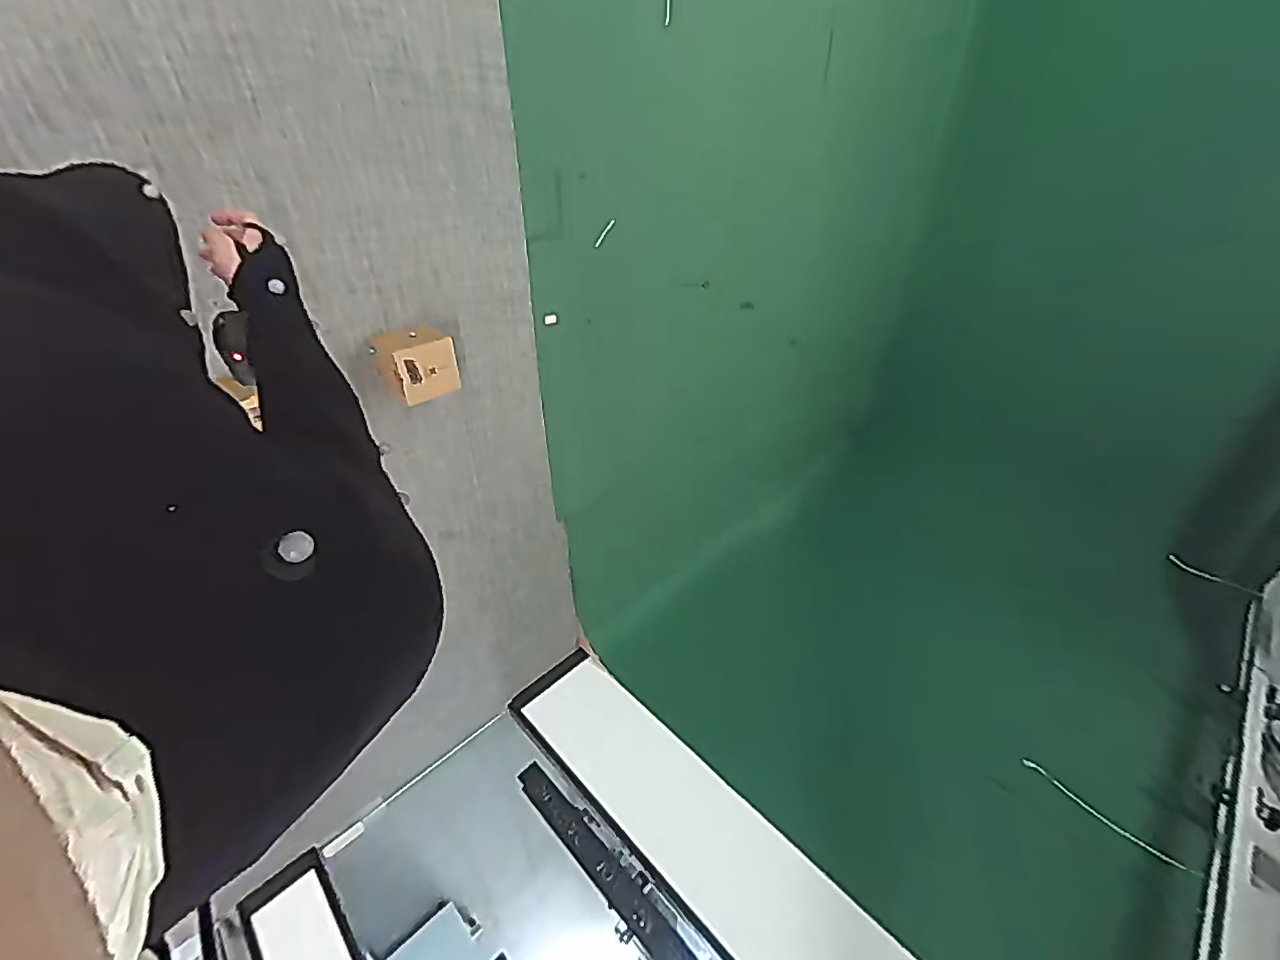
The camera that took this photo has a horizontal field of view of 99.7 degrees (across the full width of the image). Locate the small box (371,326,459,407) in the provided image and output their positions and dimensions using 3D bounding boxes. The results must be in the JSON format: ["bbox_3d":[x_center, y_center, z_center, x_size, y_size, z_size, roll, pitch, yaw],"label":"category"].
[{"bbox_3d":[-0.661,-0.337,1.581,0.179,0.176,0.168,-30,135,-36],"label":"small box"}]
